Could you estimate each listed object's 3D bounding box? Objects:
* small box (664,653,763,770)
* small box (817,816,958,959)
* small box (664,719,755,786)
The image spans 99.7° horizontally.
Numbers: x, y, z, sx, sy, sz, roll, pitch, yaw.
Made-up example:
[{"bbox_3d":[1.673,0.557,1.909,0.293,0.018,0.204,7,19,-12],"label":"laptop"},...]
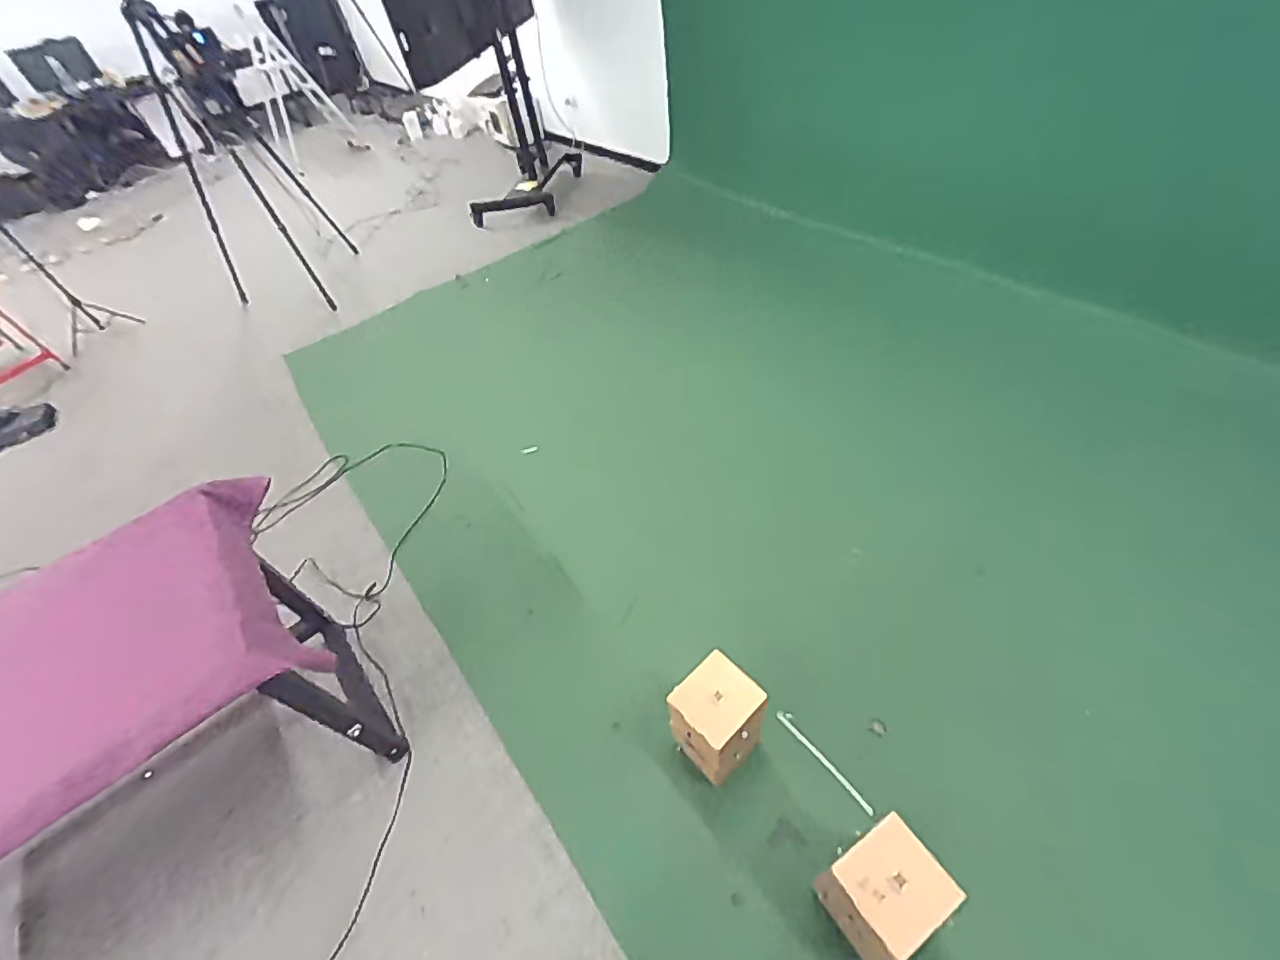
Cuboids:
[{"bbox_3d":[0.177,0.567,1.323,0.179,0.176,0.168,-38,54,-22],"label":"small box"},{"bbox_3d":[0.471,0.805,1.062,0.179,0.176,0.168,-29,51,-16],"label":"small box"},{"bbox_3d":[0.188,0.676,1.442,0.179,0.176,0.168,-36,53,-22],"label":"small box"}]
